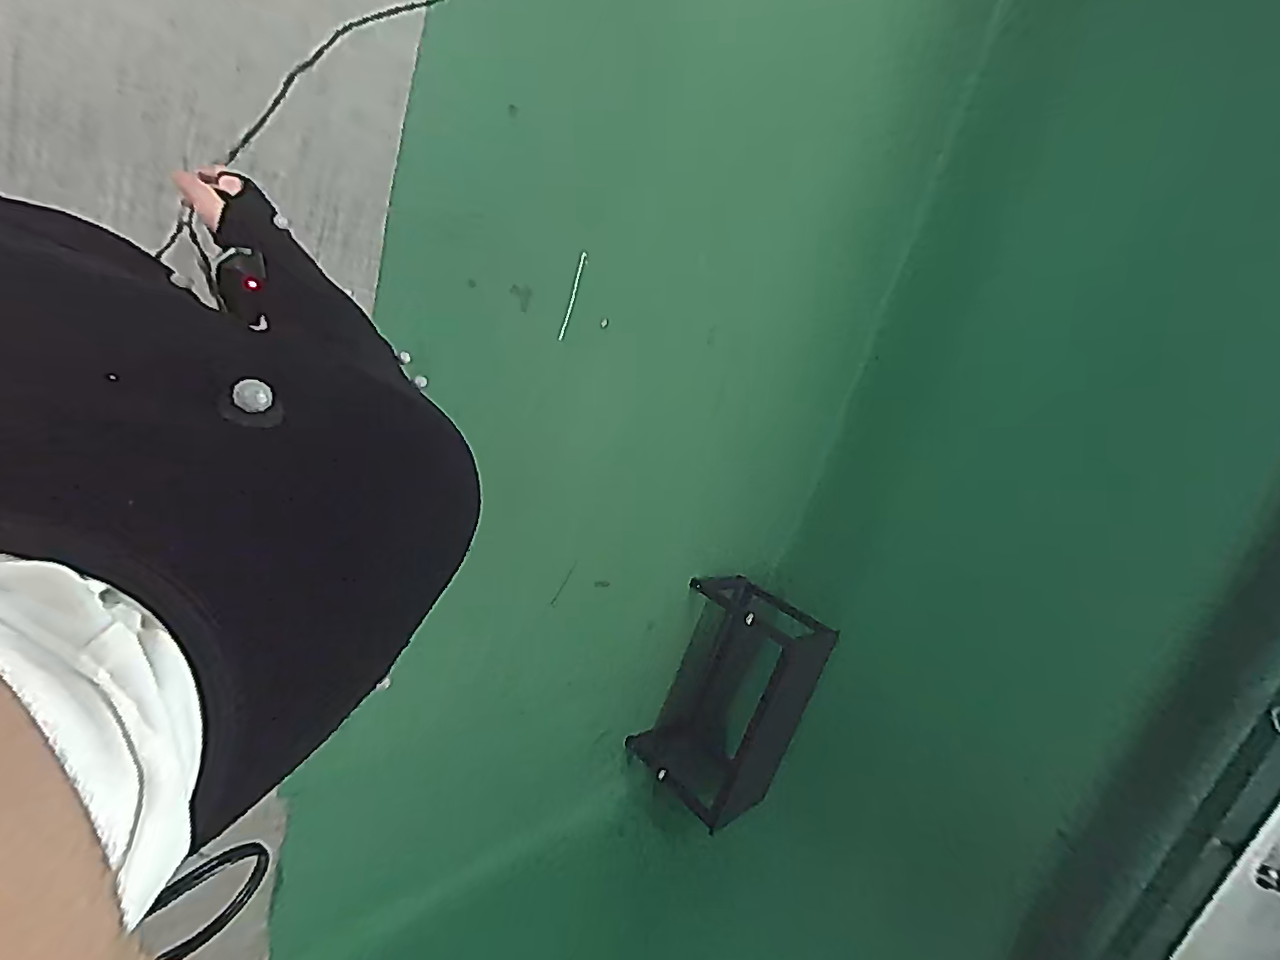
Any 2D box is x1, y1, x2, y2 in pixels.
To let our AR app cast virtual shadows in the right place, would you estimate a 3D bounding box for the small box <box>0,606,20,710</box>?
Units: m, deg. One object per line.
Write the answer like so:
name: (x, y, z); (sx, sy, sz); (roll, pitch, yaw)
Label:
small box: (-1.439, 0.376, 1.126); (0.179, 0.176, 0.168); (11, 104, -48)
